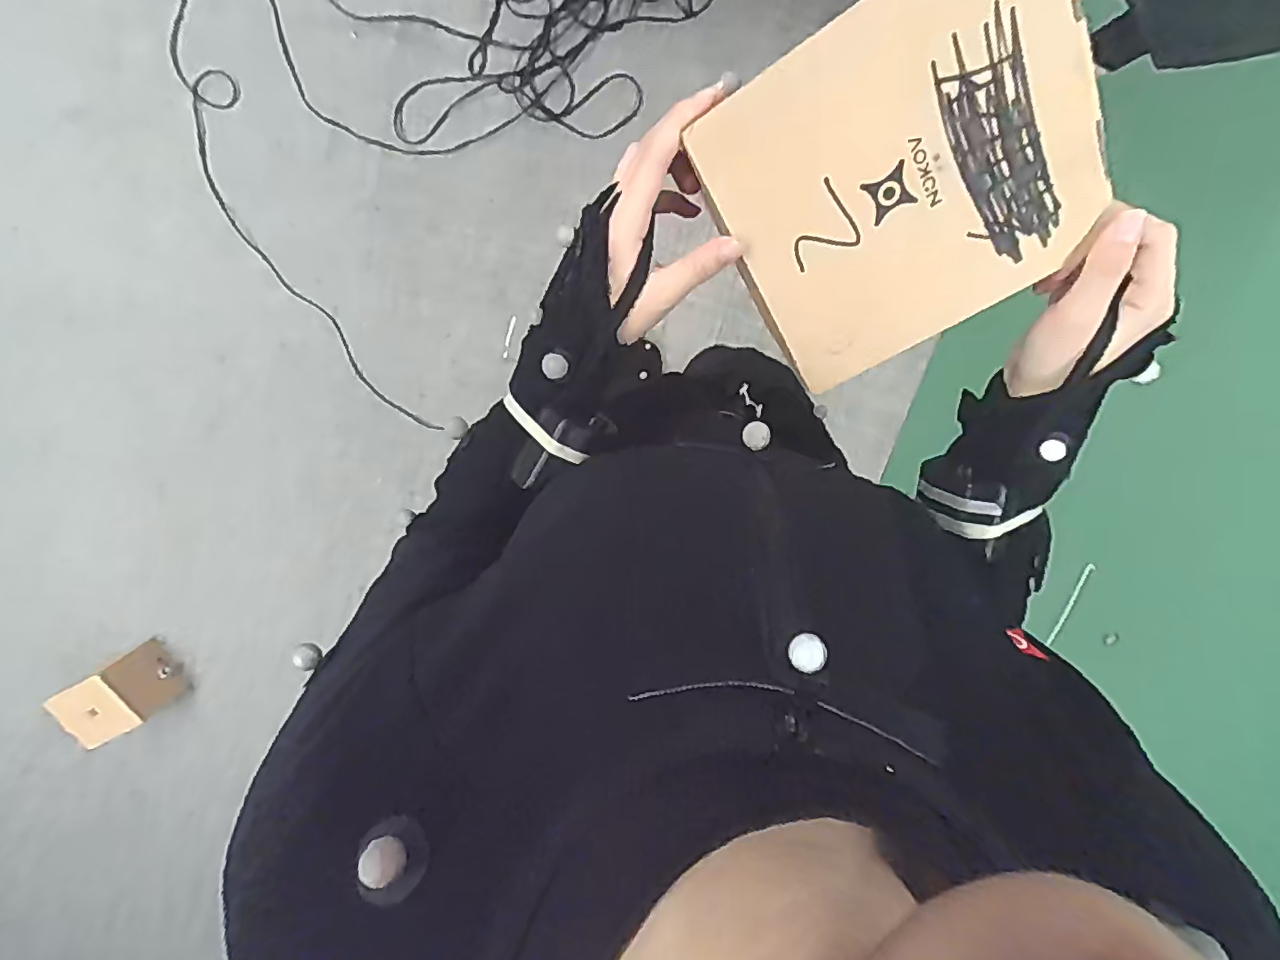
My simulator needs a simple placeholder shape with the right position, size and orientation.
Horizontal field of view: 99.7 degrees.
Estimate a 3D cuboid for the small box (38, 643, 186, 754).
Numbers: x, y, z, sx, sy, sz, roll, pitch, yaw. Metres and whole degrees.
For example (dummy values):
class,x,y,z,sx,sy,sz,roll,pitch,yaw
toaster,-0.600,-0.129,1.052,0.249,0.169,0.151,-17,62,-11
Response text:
class,x,y,z,sx,sy,sz,roll,pitch,yaw
small box,-1.350,0.558,1.398,0.179,0.176,0.168,-27,106,5
